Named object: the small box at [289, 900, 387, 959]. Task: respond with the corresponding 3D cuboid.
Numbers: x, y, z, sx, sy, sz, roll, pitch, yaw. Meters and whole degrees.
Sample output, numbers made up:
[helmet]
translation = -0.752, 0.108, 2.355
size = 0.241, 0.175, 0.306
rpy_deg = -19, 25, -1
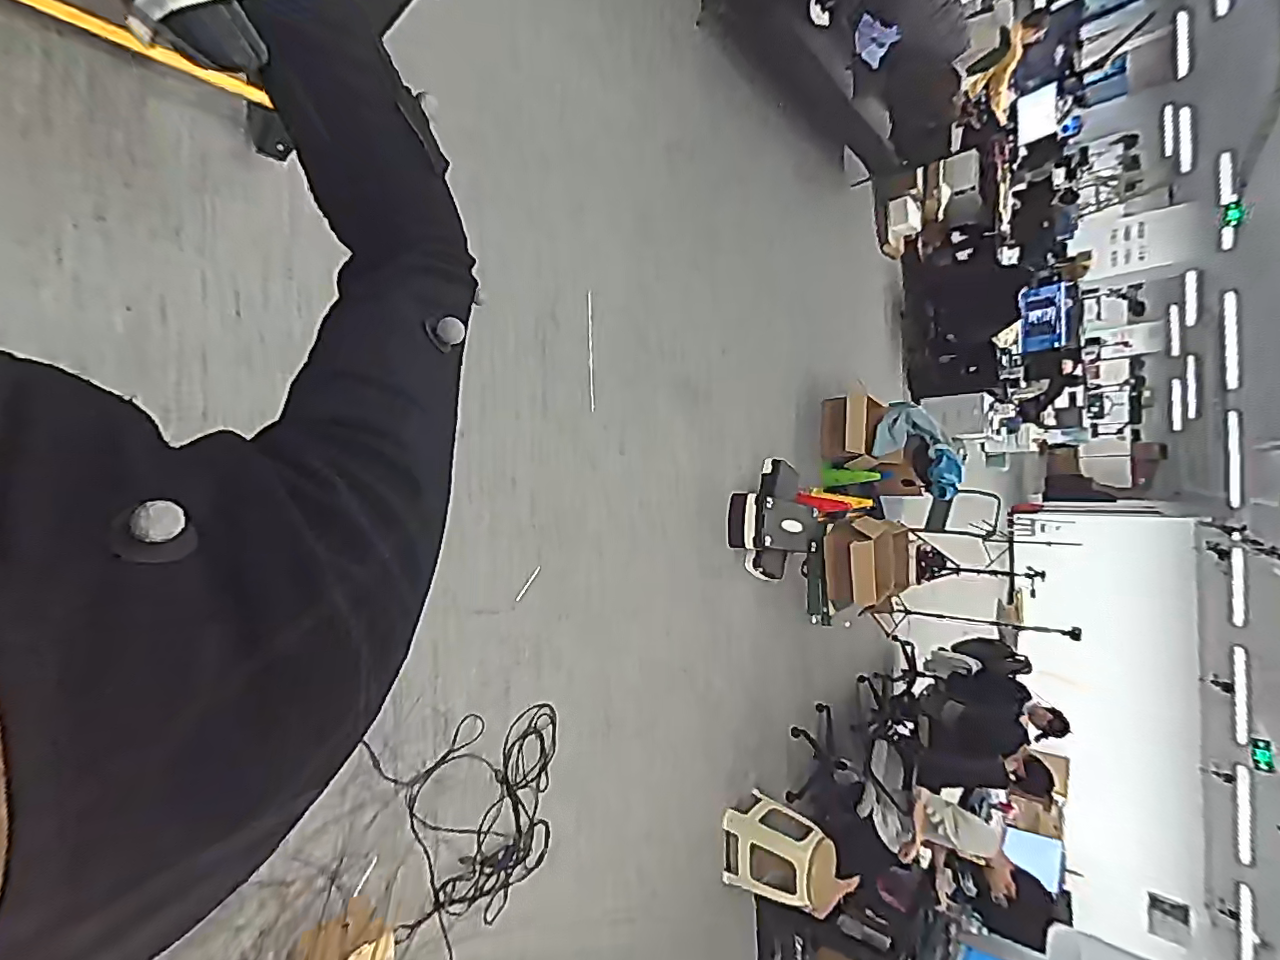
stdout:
[small box]
translation = -0.736, 1.189, 1.318
size = 0.168, 0.176, 0.179
rpy_deg = -2, 90, -50
